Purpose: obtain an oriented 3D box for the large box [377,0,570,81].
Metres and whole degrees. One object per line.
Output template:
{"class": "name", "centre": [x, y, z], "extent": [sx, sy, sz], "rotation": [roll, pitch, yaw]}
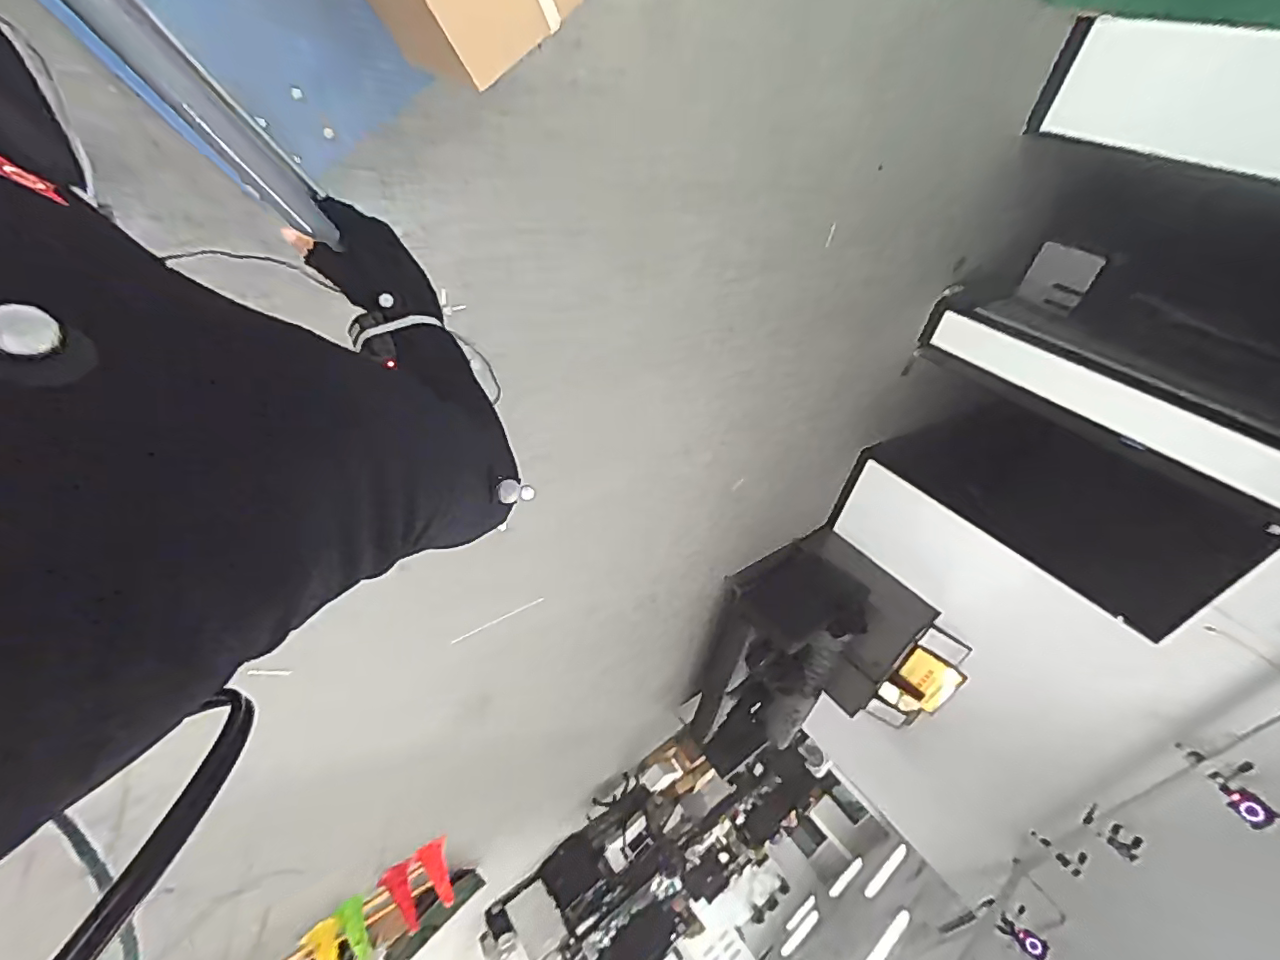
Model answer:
{"class": "large box", "centre": [-0.300, -0.887, 0.765], "extent": [0.320, 0.320, 0.408], "rotation": [-45, 145, -2]}
